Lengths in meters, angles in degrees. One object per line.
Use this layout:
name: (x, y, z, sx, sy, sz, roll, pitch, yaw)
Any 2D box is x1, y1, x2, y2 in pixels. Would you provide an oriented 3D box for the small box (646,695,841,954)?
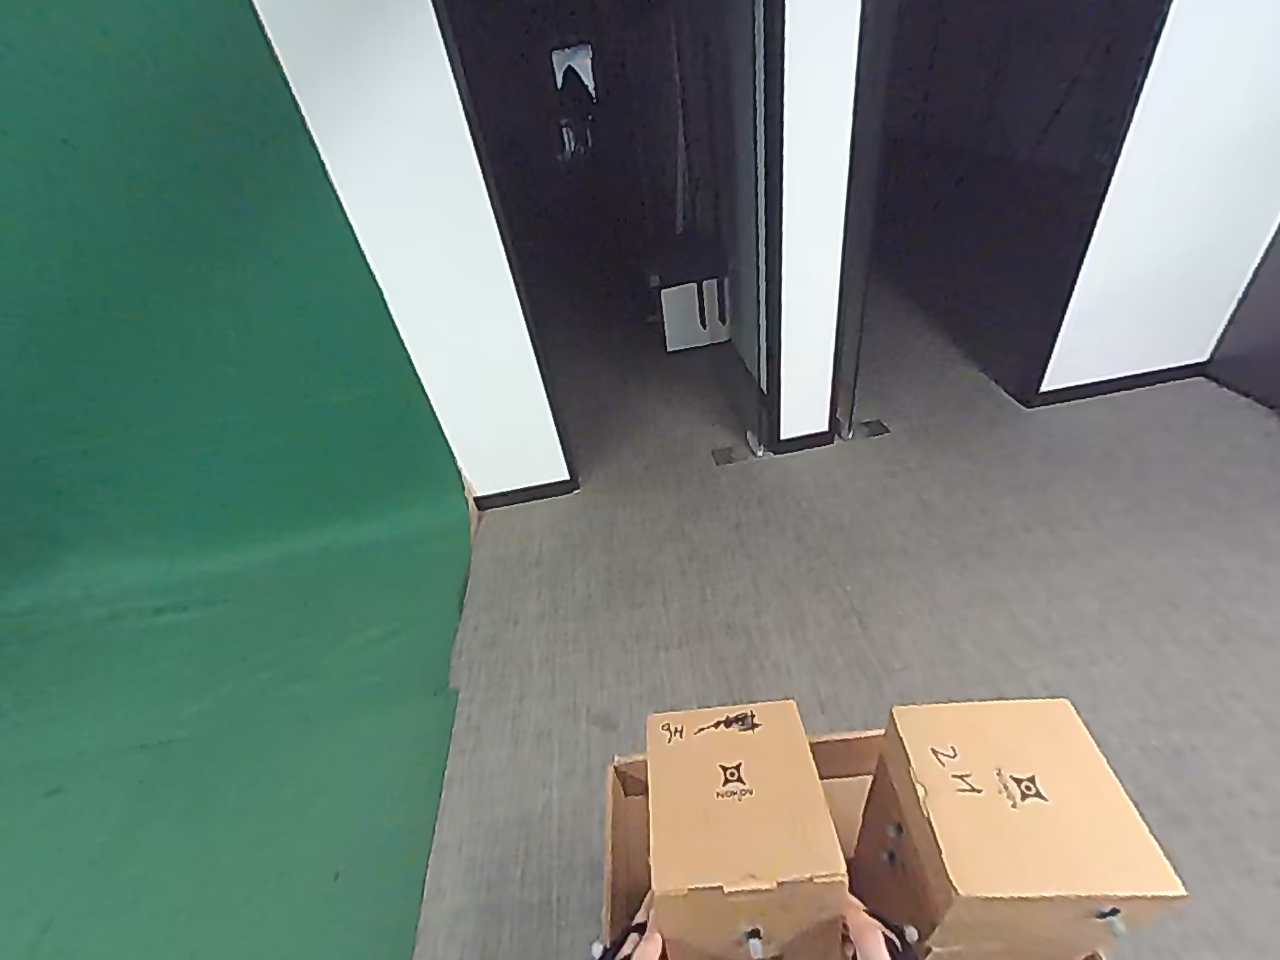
small box: (0.100, 0.358, 0.563, 0.168, 0.176, 0.179, -8, 31, 3)

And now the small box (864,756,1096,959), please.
small box: (0.382, 0.460, 0.651, 0.168, 0.176, 0.179, -7, 40, 7)
